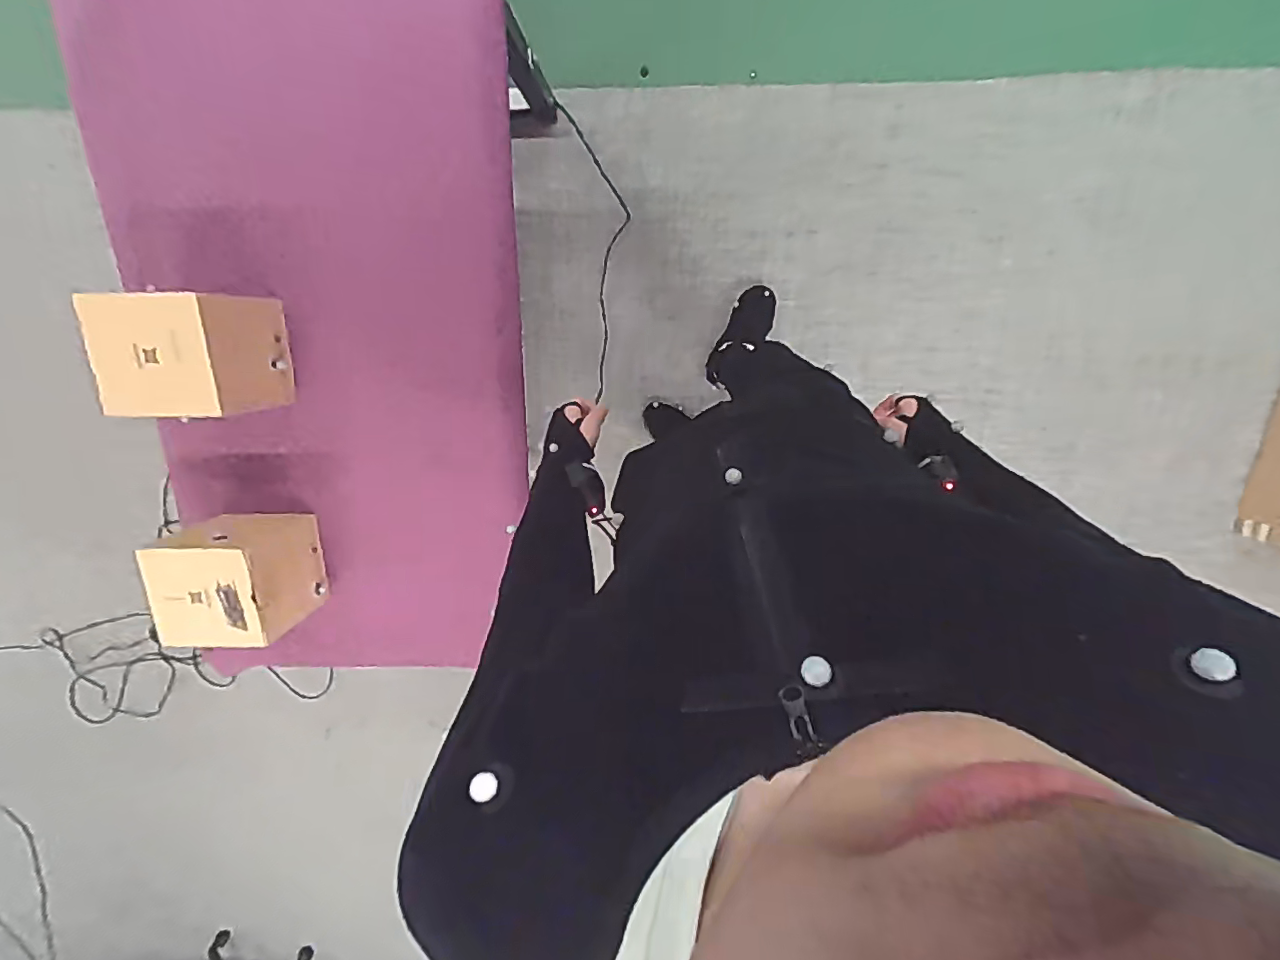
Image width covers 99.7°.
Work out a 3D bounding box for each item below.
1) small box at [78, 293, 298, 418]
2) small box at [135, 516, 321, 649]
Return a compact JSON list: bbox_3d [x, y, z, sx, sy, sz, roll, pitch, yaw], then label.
[{"bbox_3d":[-0.659,-0.186,0.811,0.179,0.176,0.168,1,105,3],"label":"small box"},{"bbox_3d":[-0.660,0.162,0.896,0.179,0.176,0.168,0,104,4],"label":"small box"}]
